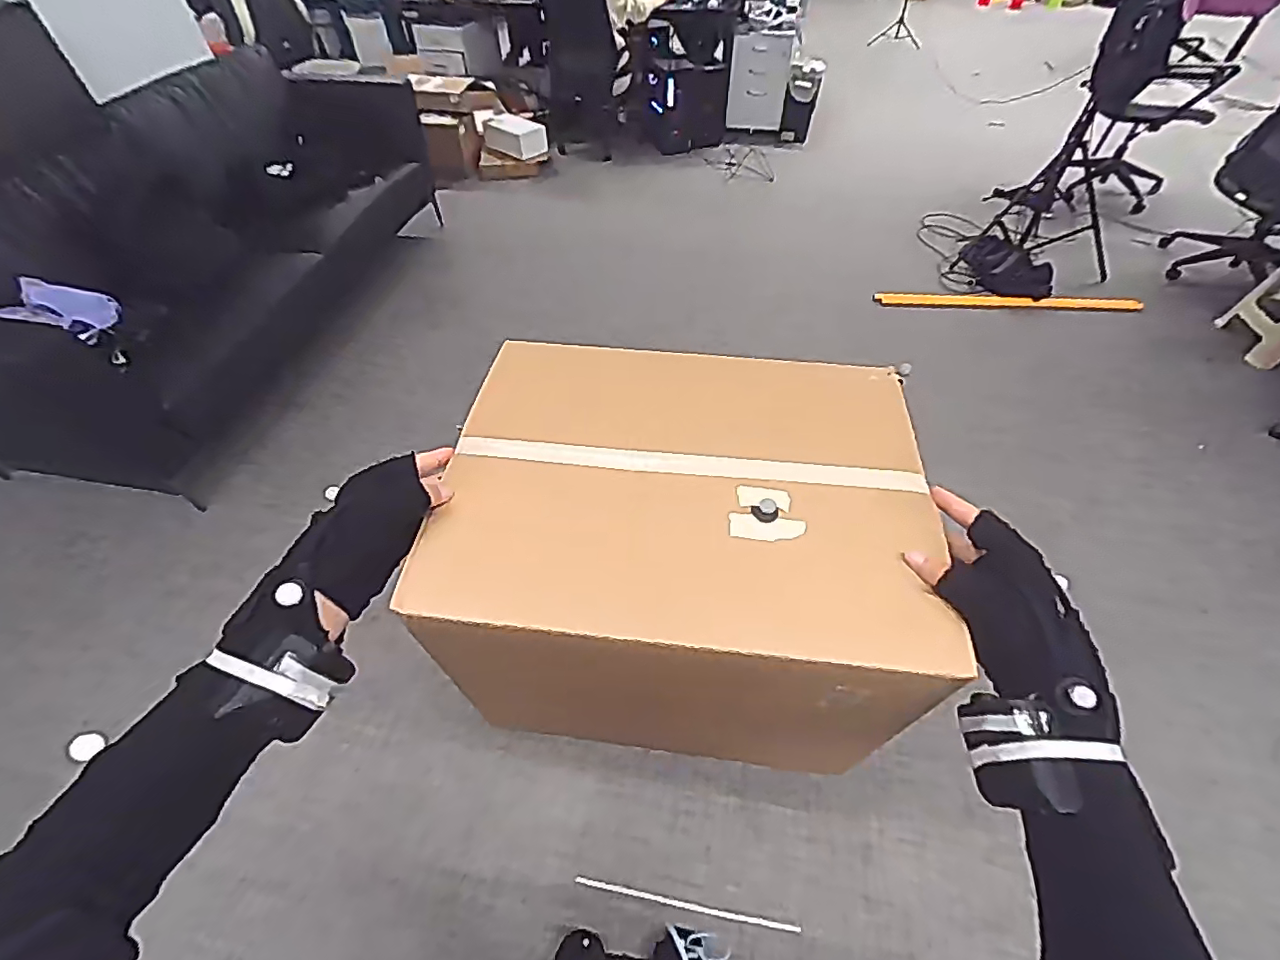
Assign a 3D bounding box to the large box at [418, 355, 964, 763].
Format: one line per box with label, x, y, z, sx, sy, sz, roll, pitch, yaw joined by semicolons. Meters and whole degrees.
large box;0.043;0.091;0.594;0.408;0.320;0.320;6;52;4
